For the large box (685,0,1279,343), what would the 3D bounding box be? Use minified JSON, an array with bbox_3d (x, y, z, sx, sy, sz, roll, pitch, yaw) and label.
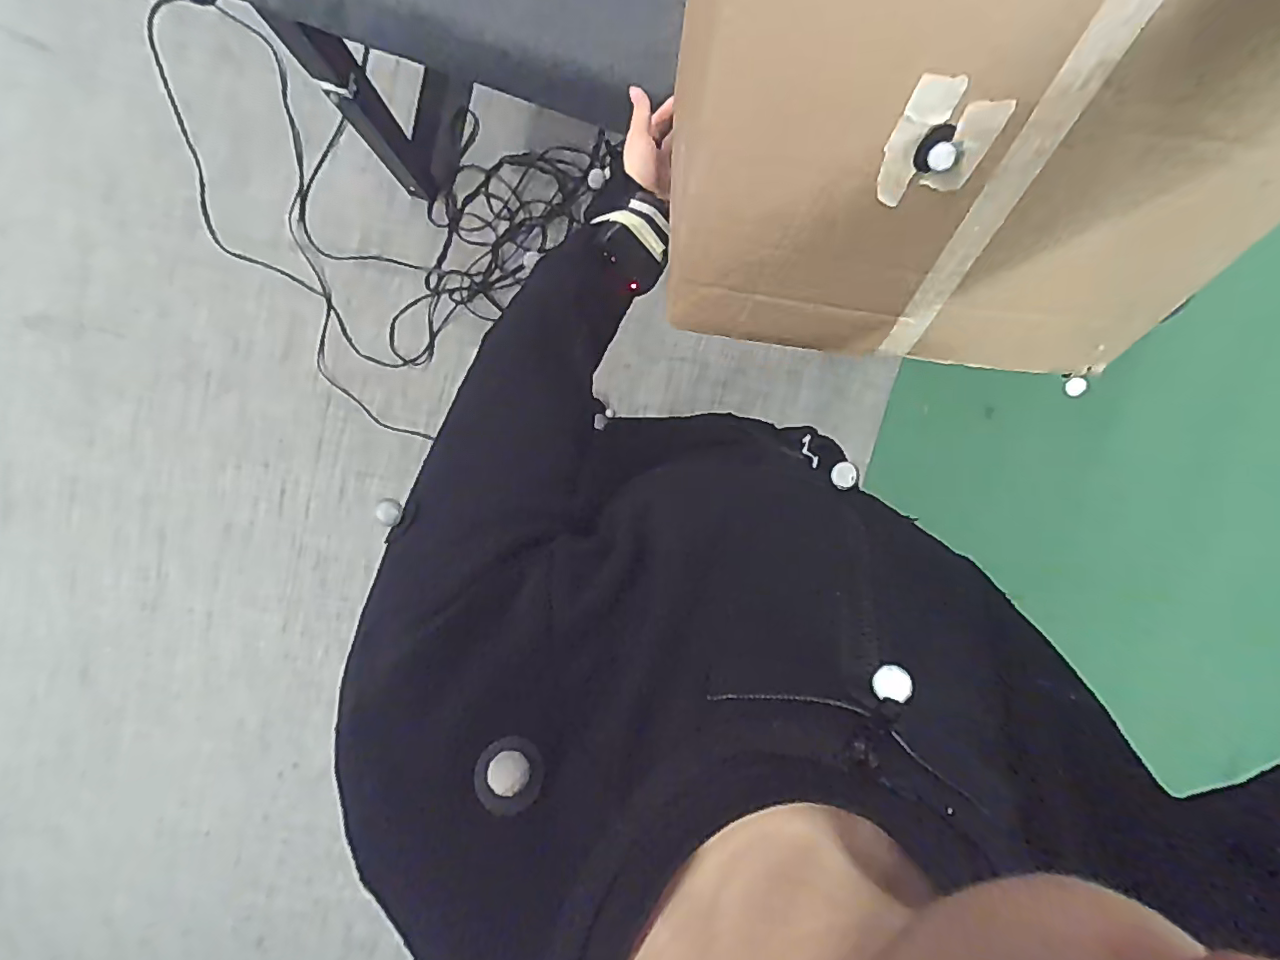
[{"bbox_3d":[0.205,-0.339,0.296,0.320,0.408,0.320,5,60,-3],"label":"large box"}]
